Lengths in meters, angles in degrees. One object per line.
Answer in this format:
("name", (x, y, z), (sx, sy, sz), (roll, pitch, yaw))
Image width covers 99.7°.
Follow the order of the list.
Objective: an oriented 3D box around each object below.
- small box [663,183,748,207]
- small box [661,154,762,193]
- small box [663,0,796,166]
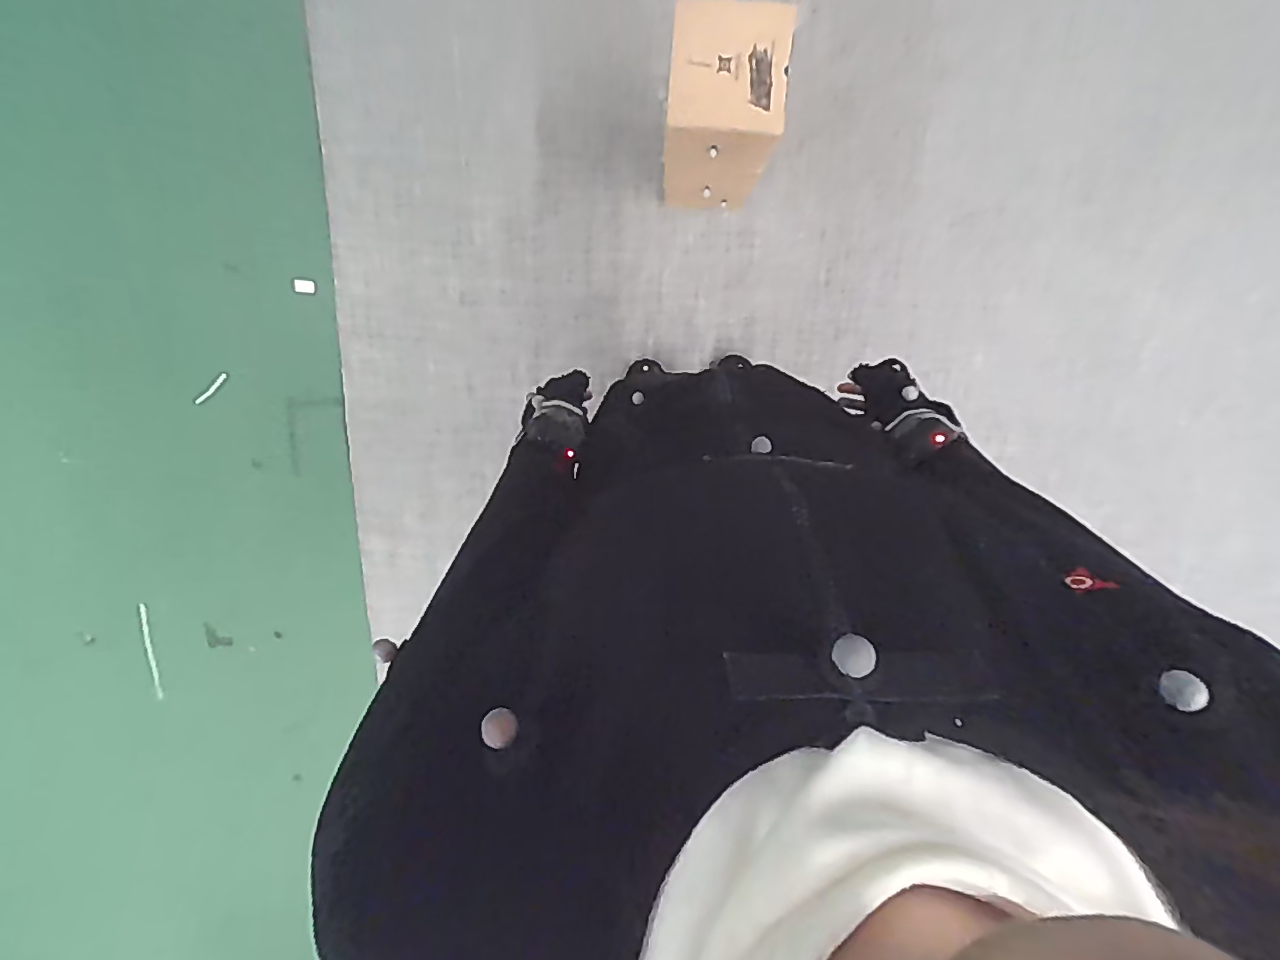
("small box", (0.143, -0.705, 1.179), (0.179, 0.176, 0.168), (3, 104, 2))
("small box", (0.138, -0.658, 1.022), (0.179, 0.176, 0.168), (7, 105, -1))
("small box", (0.132, -0.618, 0.862), (0.179, 0.176, 0.168), (2, 105, -1))
